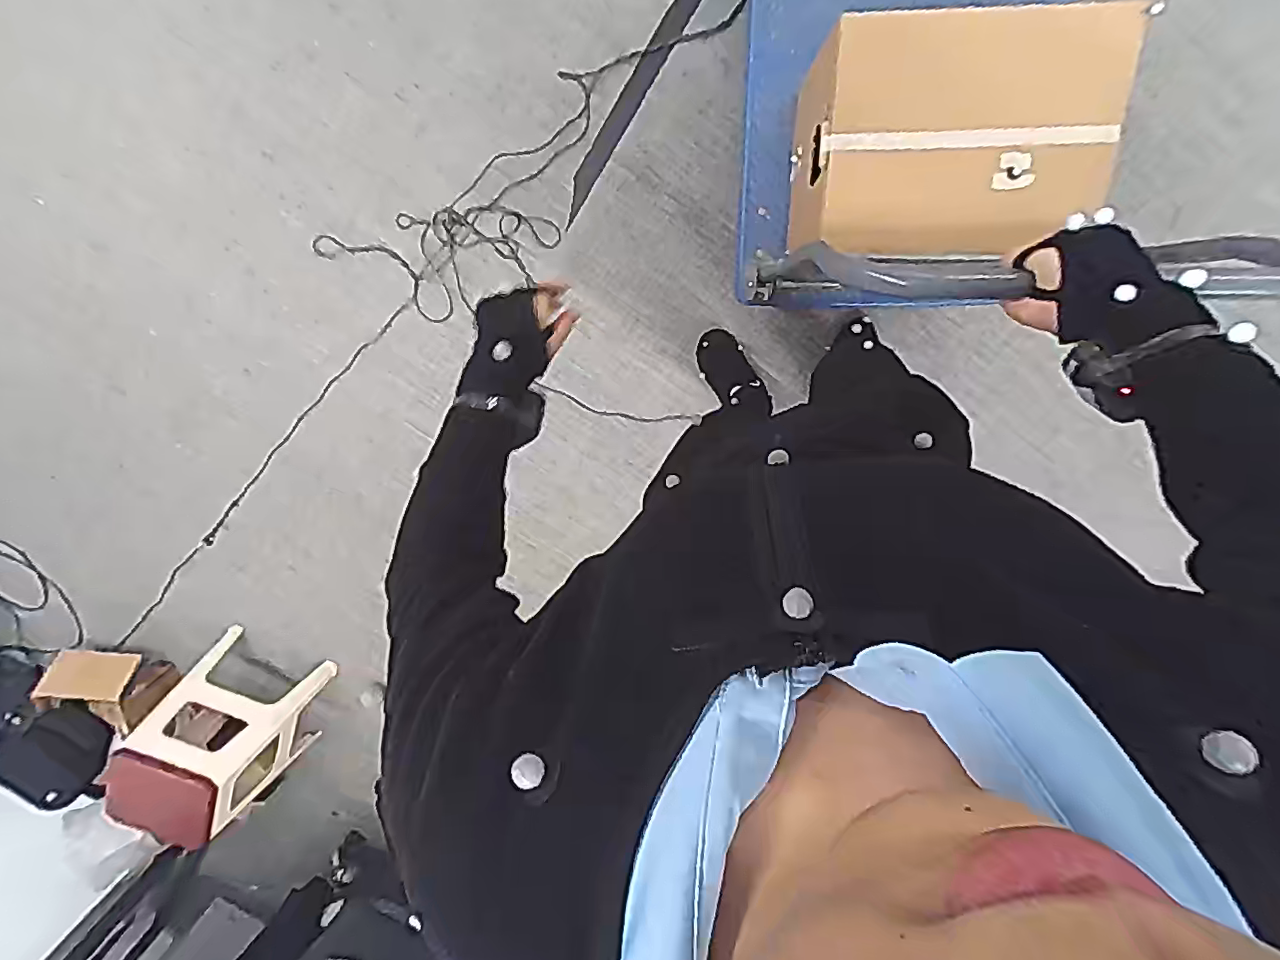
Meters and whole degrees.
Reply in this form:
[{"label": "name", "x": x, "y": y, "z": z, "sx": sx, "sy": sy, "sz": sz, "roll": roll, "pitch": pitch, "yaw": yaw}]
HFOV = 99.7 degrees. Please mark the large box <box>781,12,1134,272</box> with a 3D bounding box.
[{"label": "large box", "x": 0.475, "y": -0.531, "z": 0.924, "sx": 0.408, "sy": 0.320, "sz": 0.320, "roll": 1, "pitch": 110, "yaw": 4}]
